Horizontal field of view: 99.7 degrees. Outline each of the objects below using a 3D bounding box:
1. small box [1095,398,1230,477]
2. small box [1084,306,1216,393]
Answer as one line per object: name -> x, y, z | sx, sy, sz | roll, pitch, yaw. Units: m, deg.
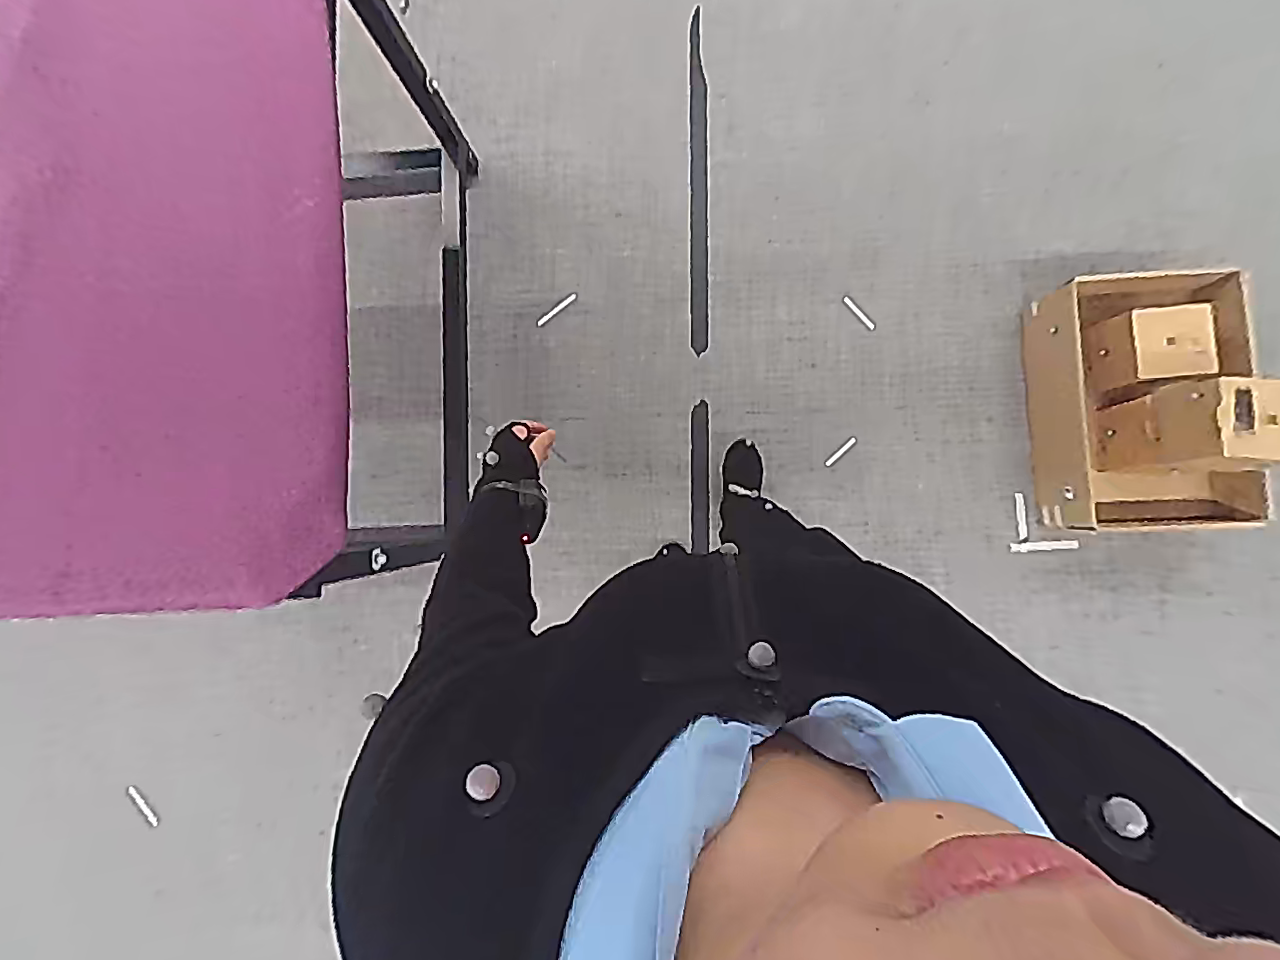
small box -> 1.269, -0.099, 1.323 | 0.179, 0.176, 0.168 | 2, 84, 5
small box -> 1.243, -0.314, 1.335 | 0.179, 0.176, 0.168 | -4, 88, 4
